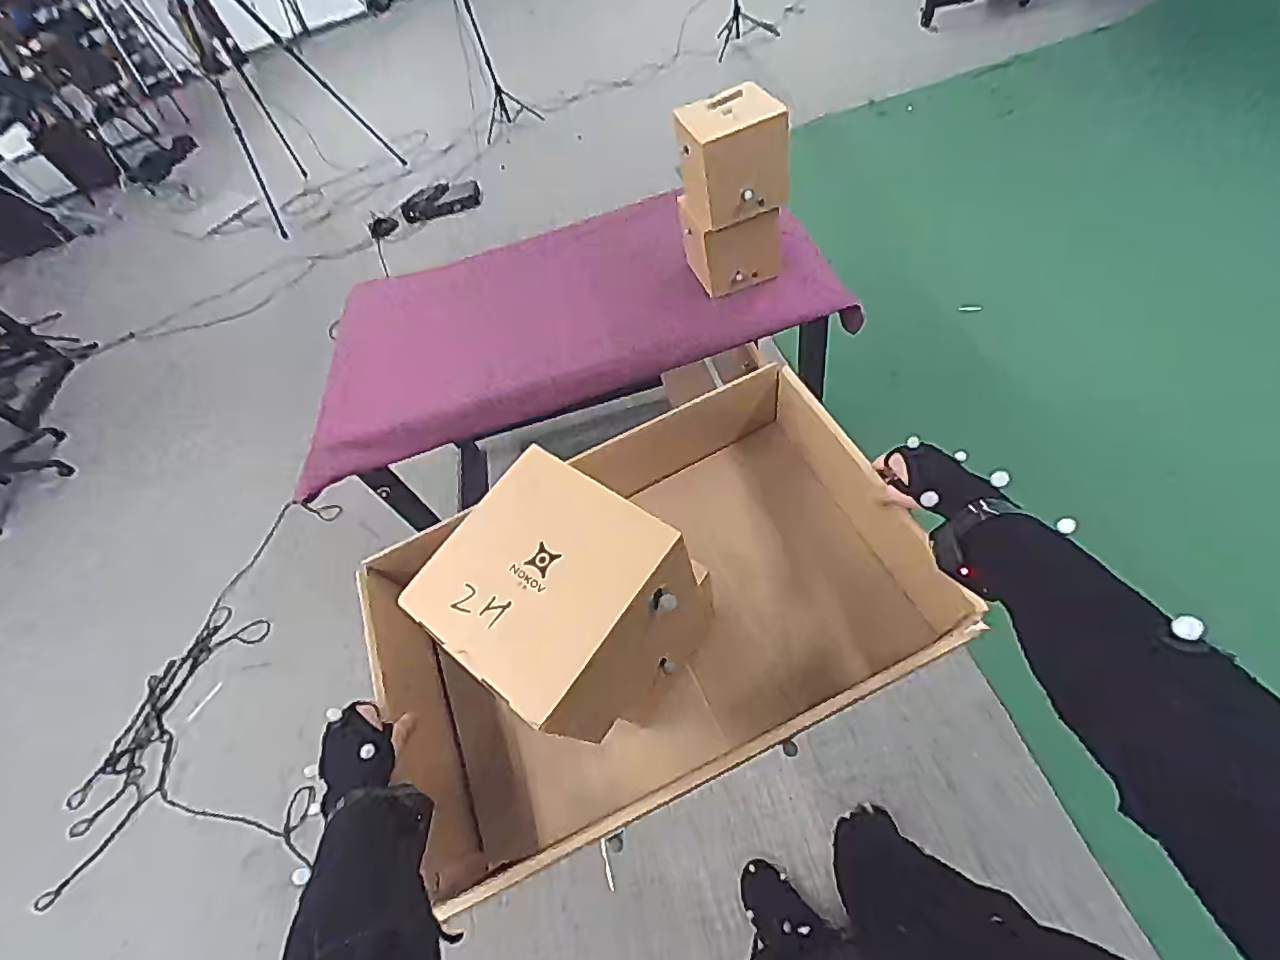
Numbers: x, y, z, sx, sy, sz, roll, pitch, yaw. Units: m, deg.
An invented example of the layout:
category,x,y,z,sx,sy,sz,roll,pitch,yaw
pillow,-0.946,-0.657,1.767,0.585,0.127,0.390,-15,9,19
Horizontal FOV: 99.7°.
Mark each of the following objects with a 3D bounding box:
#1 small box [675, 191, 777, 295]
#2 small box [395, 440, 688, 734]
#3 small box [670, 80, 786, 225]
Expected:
category,x,y,z,sx,sy,sz,roll,pitch,yaw
small box,0.190,-0.540,1.185,0.168,0.176,0.179,-21,51,2
small box,-0.070,0.102,0.491,0.168,0.176,0.179,30,73,25
small box,0.172,-0.630,1.048,0.168,0.176,0.179,-21,52,2
